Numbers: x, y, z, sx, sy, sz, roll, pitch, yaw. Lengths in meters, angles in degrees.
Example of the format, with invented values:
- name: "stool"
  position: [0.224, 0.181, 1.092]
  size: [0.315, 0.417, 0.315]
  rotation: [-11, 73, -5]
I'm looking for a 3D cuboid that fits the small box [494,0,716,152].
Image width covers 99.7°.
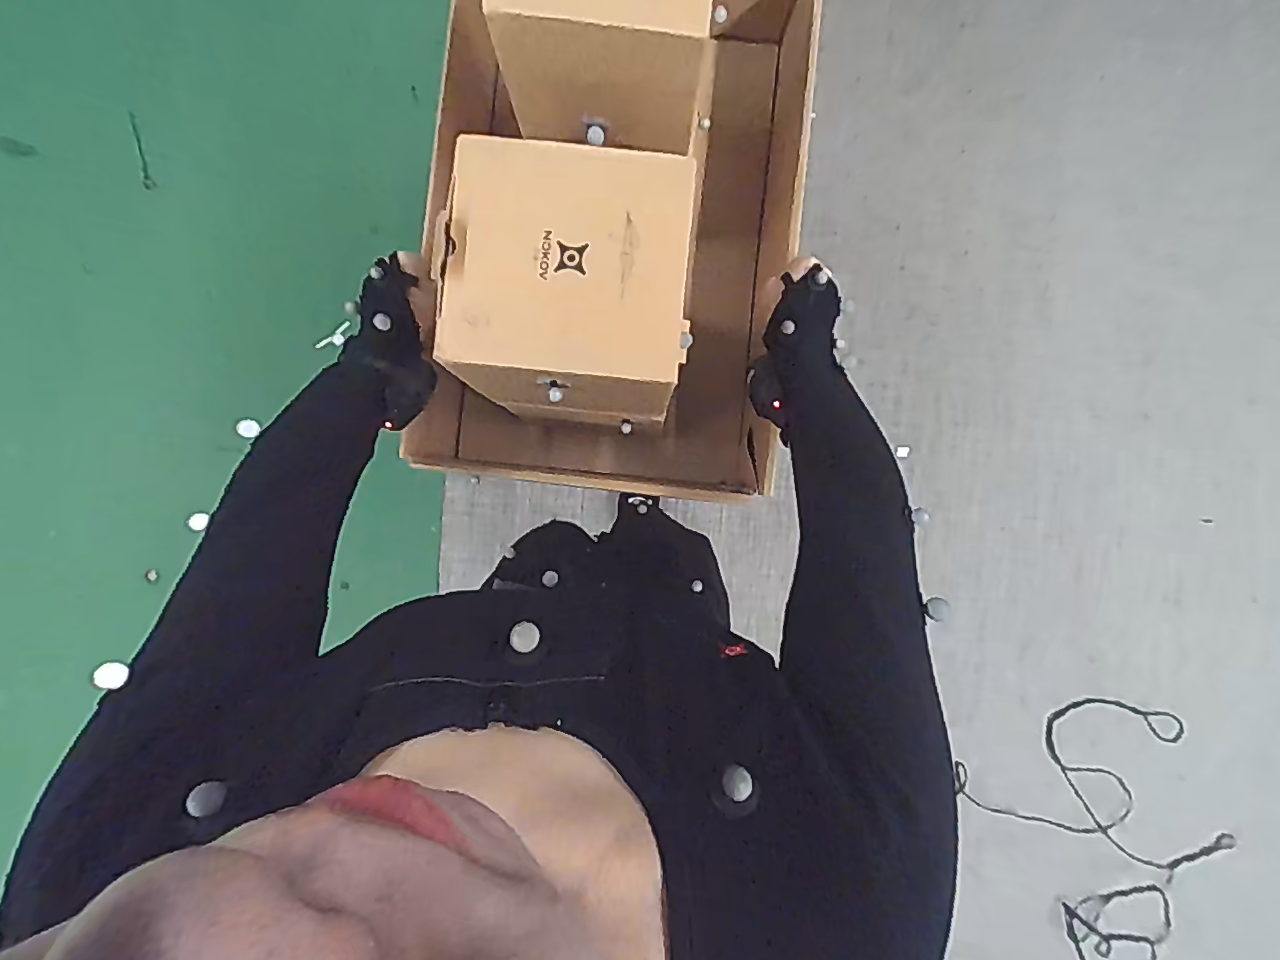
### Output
- name: "small box"
  position: [-0.020, -0.419, 0.469]
  size: [0.168, 0.176, 0.179]
  rotation: [7, 92, -2]

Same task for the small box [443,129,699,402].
- name: "small box"
  position: [-0.053, -0.167, 0.475]
  size: [0.179, 0.176, 0.168]
  rotation: [5, 90, -3]
